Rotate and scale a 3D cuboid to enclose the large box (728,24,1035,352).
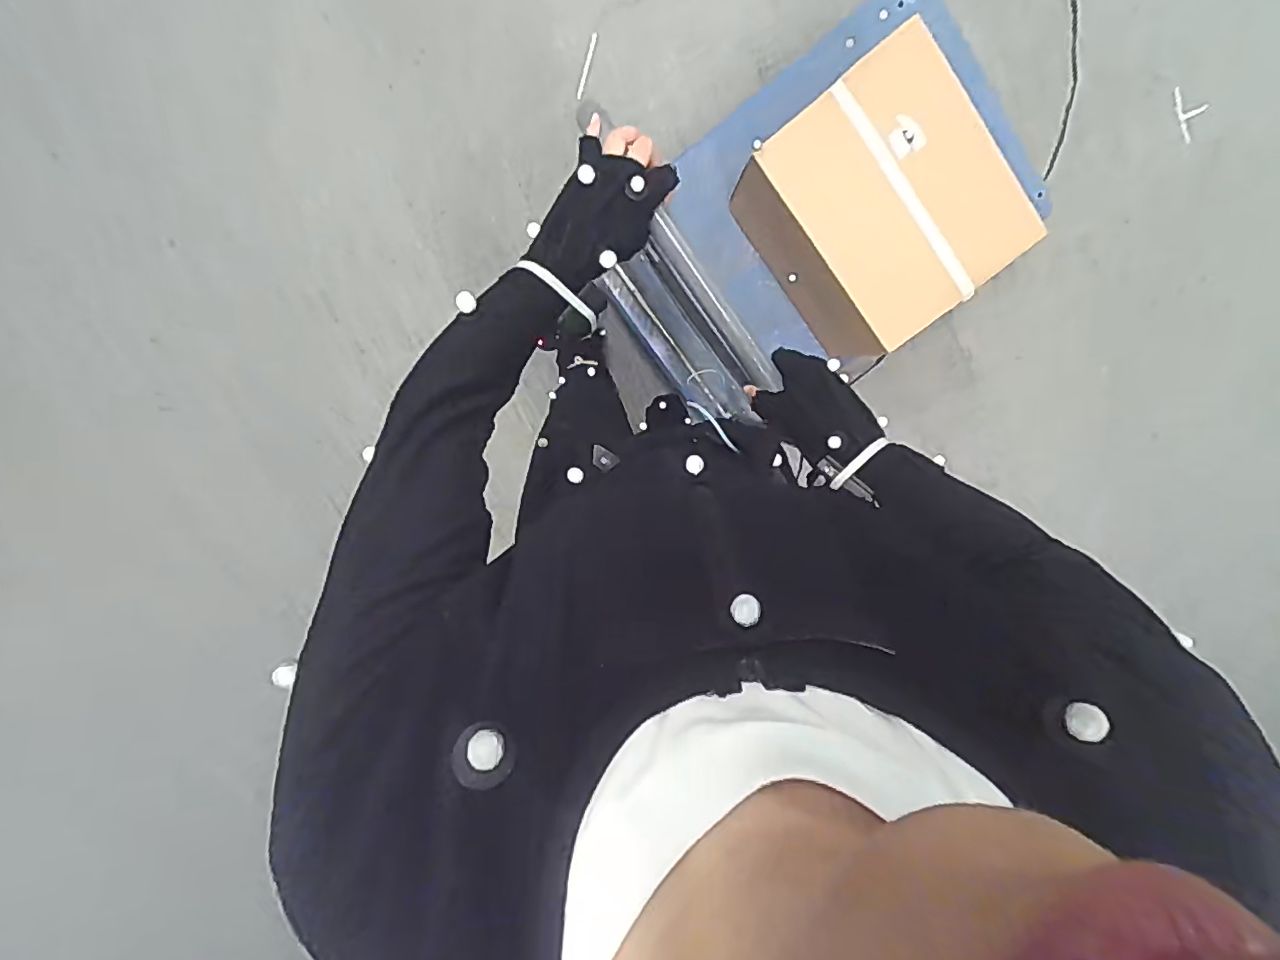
[{"bbox_3d":[0.421,-0.499,1.034,0.320,0.320,0.408,-37,98,8],"label":"large box"}]
